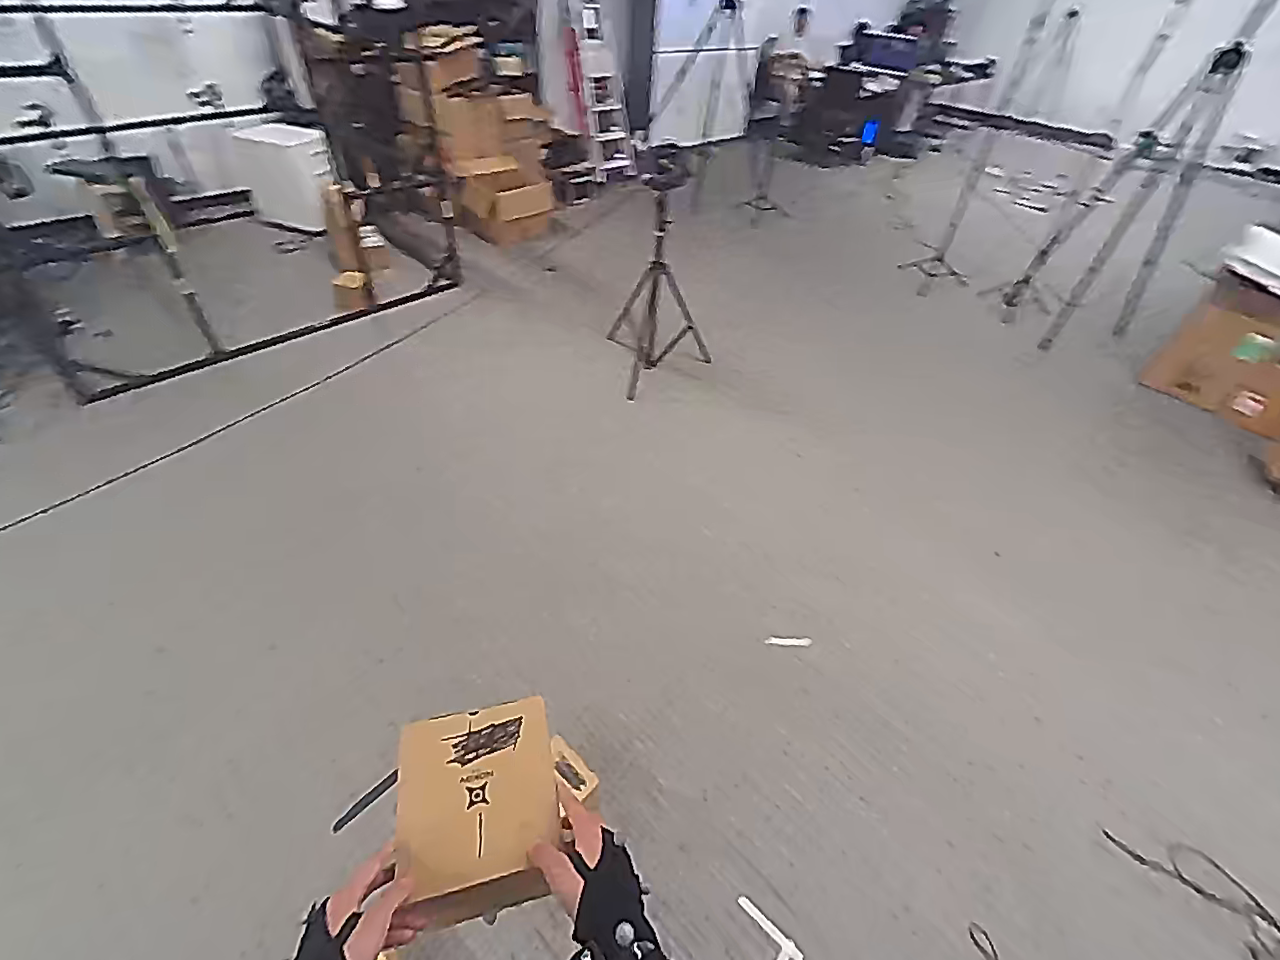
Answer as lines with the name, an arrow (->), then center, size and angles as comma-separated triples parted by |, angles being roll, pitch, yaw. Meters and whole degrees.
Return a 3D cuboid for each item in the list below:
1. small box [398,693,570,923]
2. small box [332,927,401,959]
small box -> -0.178, 0.386, 0.641 | 0.168, 0.176, 0.179 | -7, 47, -14
small box -> -0.575, 1.070, 1.103 | 0.168, 0.176, 0.179 | 35, 52, 26
